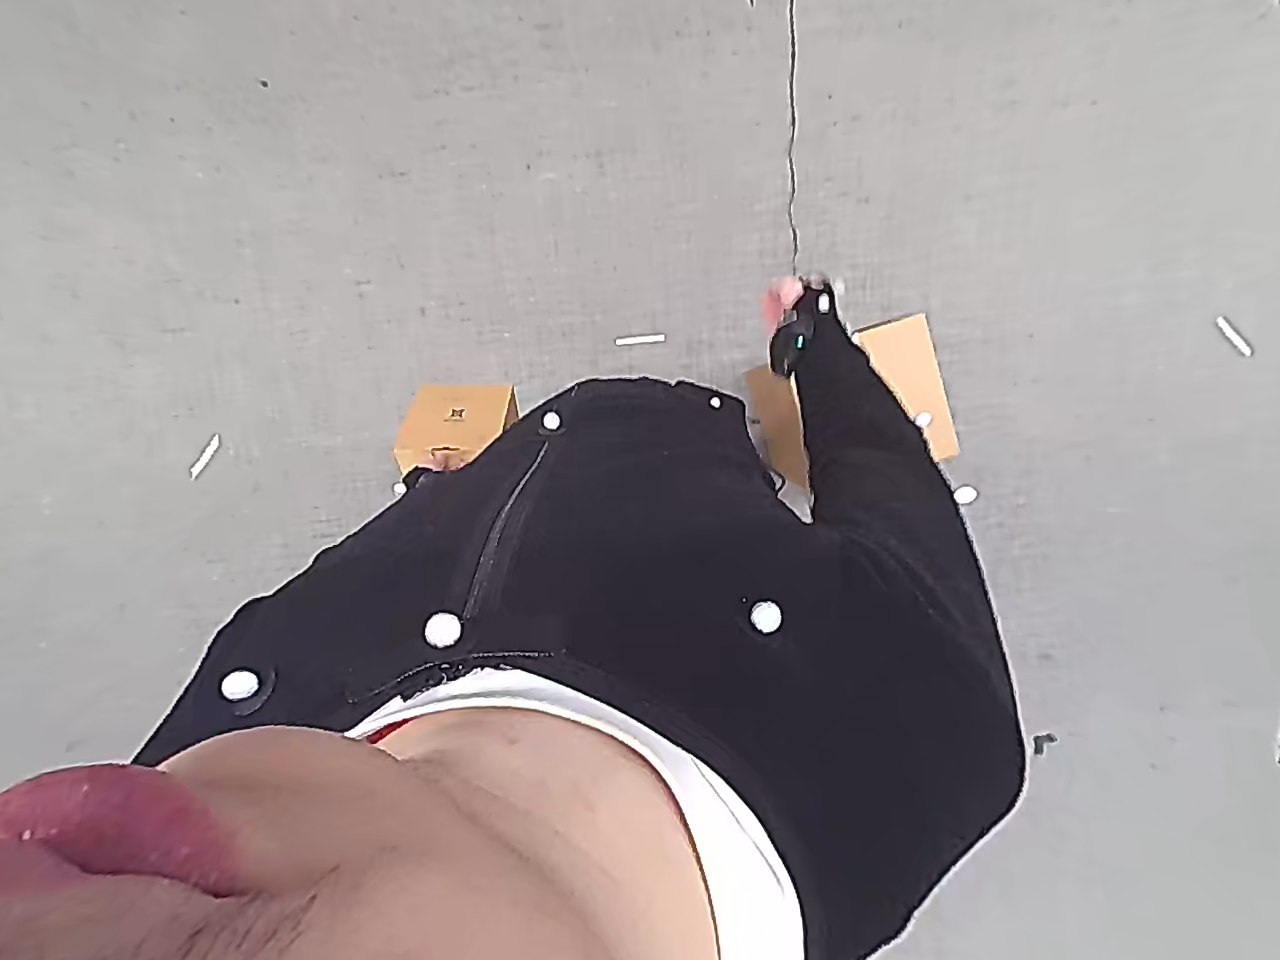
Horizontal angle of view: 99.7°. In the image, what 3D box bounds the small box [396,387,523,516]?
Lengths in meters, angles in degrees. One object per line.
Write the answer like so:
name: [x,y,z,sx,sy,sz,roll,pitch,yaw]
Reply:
small box: [-0.310,-0.048,0.972,0.168,0.179,0.176,0,135,-3]
